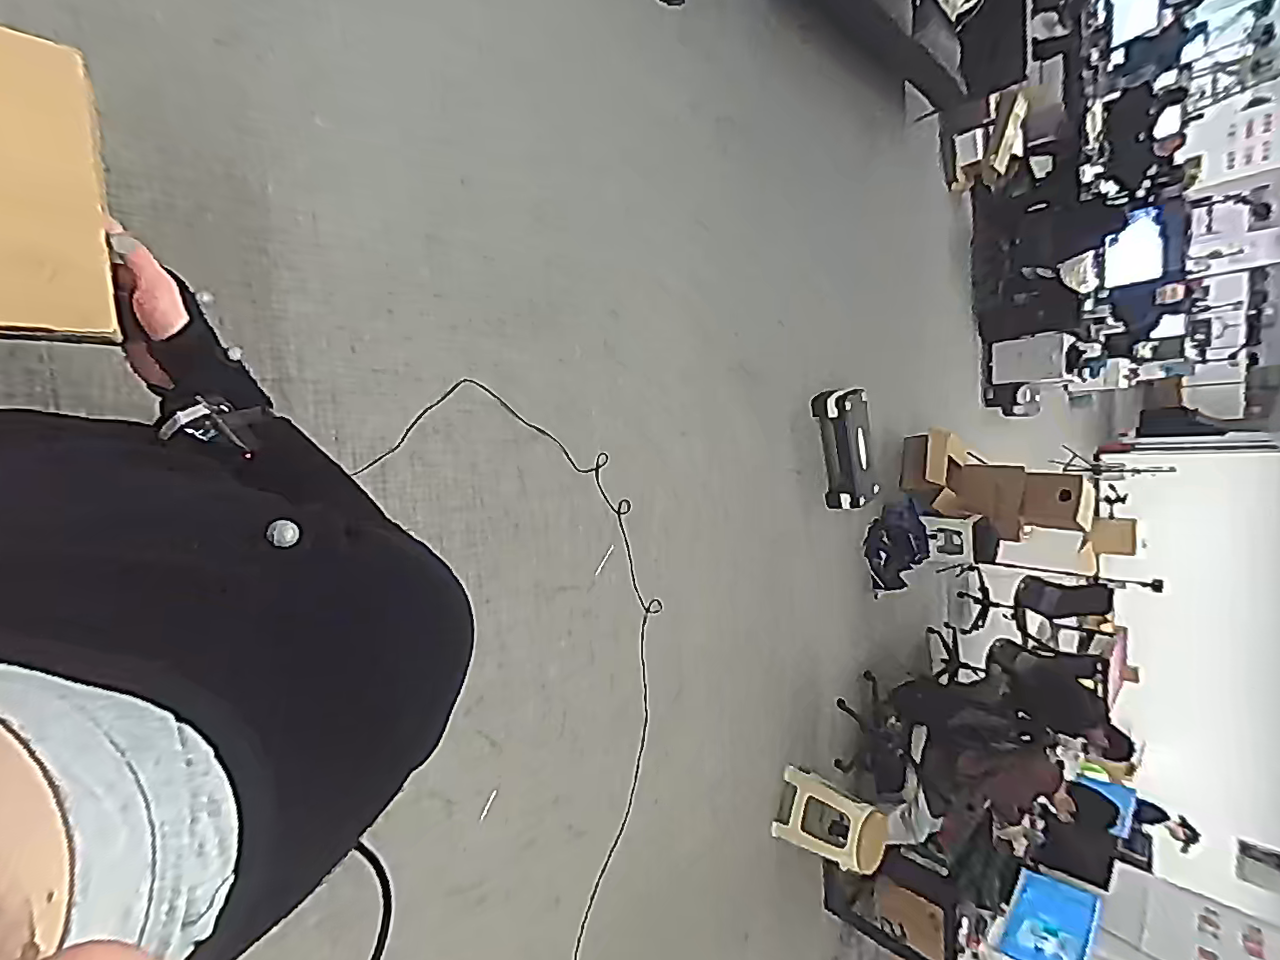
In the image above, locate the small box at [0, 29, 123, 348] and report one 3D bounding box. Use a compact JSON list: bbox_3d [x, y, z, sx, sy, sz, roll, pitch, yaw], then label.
[{"bbox_3d":[-0.455,-0.179,0.347,0.168,0.176,0.179,-8,104,-43],"label":"small box"}]
